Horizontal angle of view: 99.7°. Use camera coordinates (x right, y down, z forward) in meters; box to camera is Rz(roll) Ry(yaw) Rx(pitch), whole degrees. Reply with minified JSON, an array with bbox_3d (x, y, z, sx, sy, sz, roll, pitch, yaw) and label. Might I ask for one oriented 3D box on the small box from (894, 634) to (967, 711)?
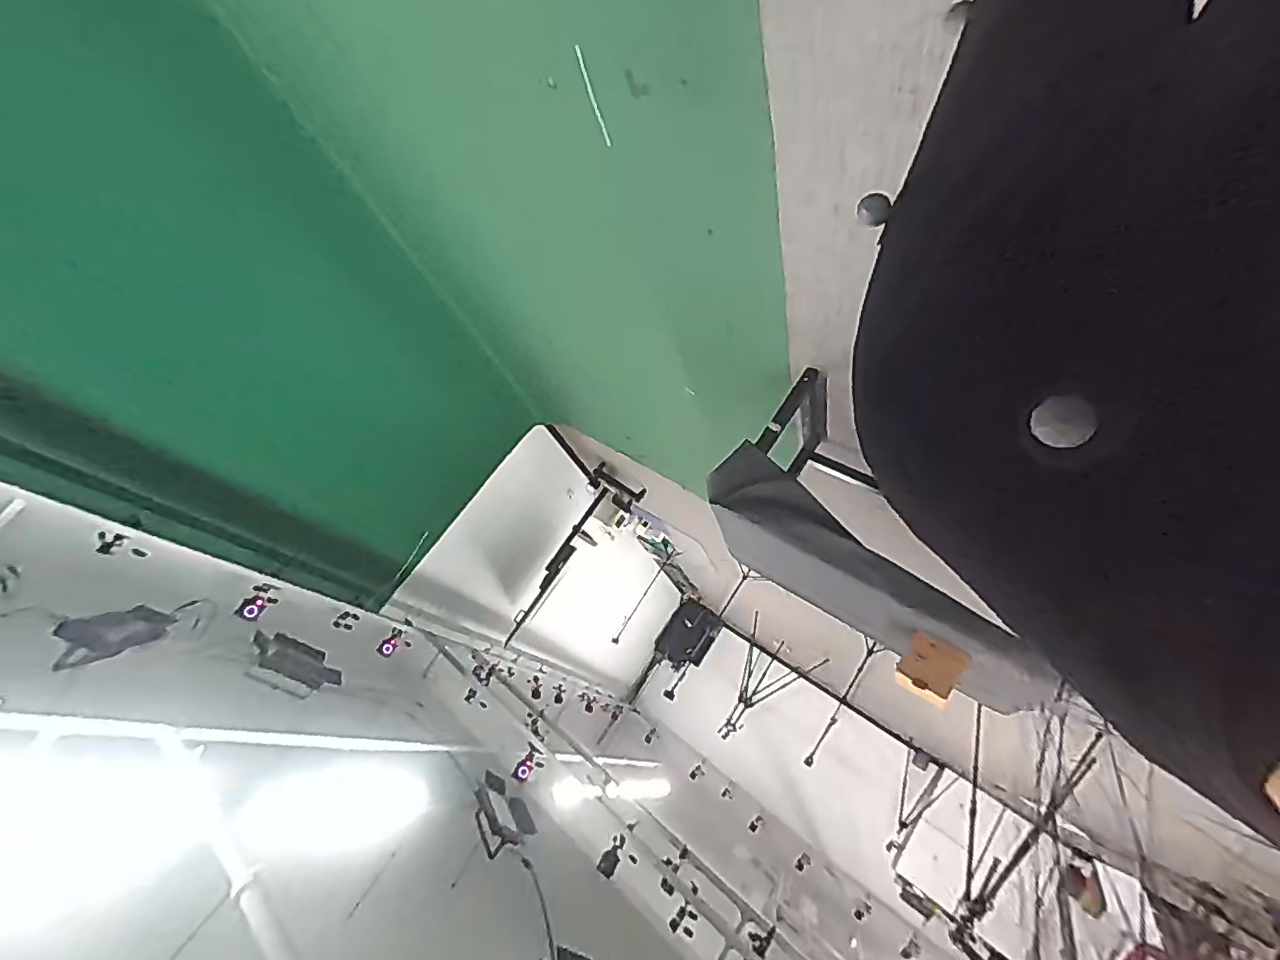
[{"bbox_3d":[0.976,0.643,1.820,0.168,0.176,0.179,29,166,36],"label":"small box"}]
